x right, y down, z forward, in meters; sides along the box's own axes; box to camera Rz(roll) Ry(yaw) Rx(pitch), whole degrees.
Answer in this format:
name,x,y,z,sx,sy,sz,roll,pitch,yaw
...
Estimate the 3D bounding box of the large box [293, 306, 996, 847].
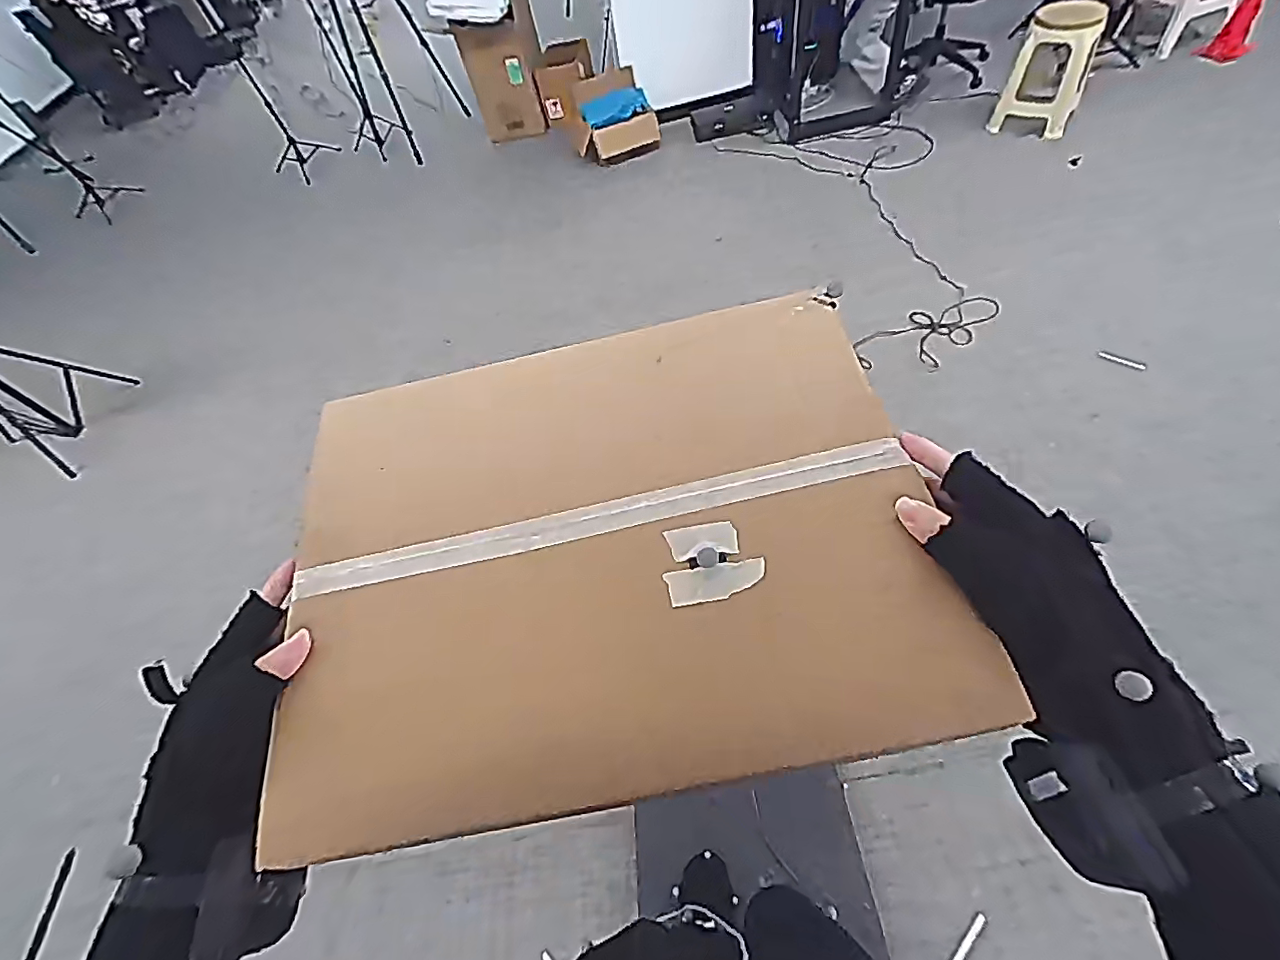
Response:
name,x,y,z,sx,sy,sz,roll,pitch,yaw
large box,-0.007,0.102,0.495,0.408,0.320,0.320,-12,61,2
